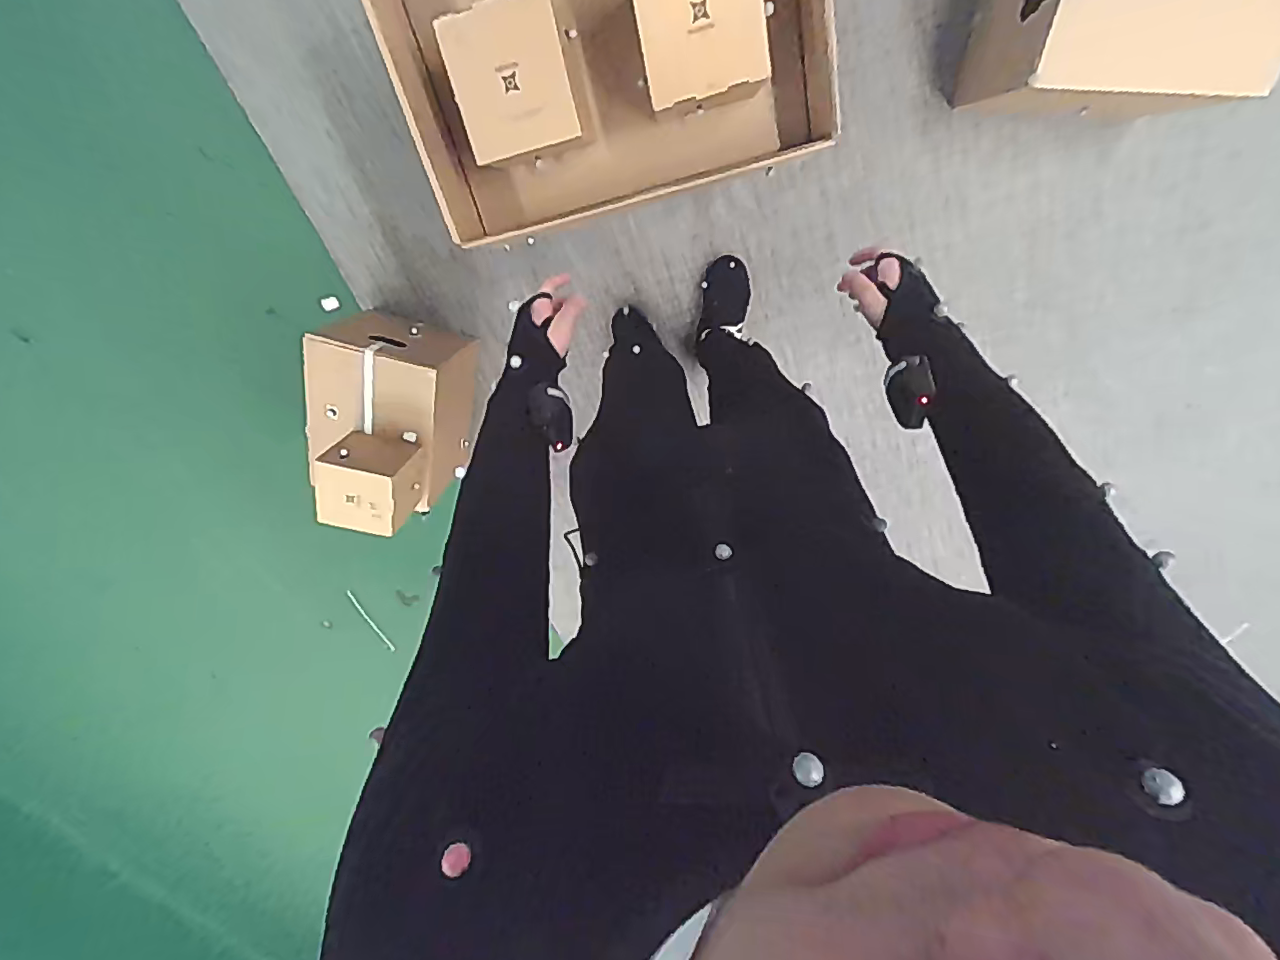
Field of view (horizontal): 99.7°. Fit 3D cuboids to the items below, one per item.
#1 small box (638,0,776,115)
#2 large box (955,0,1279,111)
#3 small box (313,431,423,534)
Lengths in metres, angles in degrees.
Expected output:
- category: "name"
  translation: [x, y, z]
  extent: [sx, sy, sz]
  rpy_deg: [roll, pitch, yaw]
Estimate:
- category: "small box"
  translation: [0.088, -0.646, 0.765]
  extent: [0.168, 0.176, 0.179]
  rpy_deg: [-11, 118, 9]
- category: "large box"
  translation: [0.887, -0.876, 0.987]
  extent: [0.408, 0.320, 0.320]
  rpy_deg: [4, 118, 3]
- category: "small box"
  translation: [-0.635, -0.001, 1.274]
  extent: [0.179, 0.176, 0.168]
  rpy_deg: [13, 118, -5]
